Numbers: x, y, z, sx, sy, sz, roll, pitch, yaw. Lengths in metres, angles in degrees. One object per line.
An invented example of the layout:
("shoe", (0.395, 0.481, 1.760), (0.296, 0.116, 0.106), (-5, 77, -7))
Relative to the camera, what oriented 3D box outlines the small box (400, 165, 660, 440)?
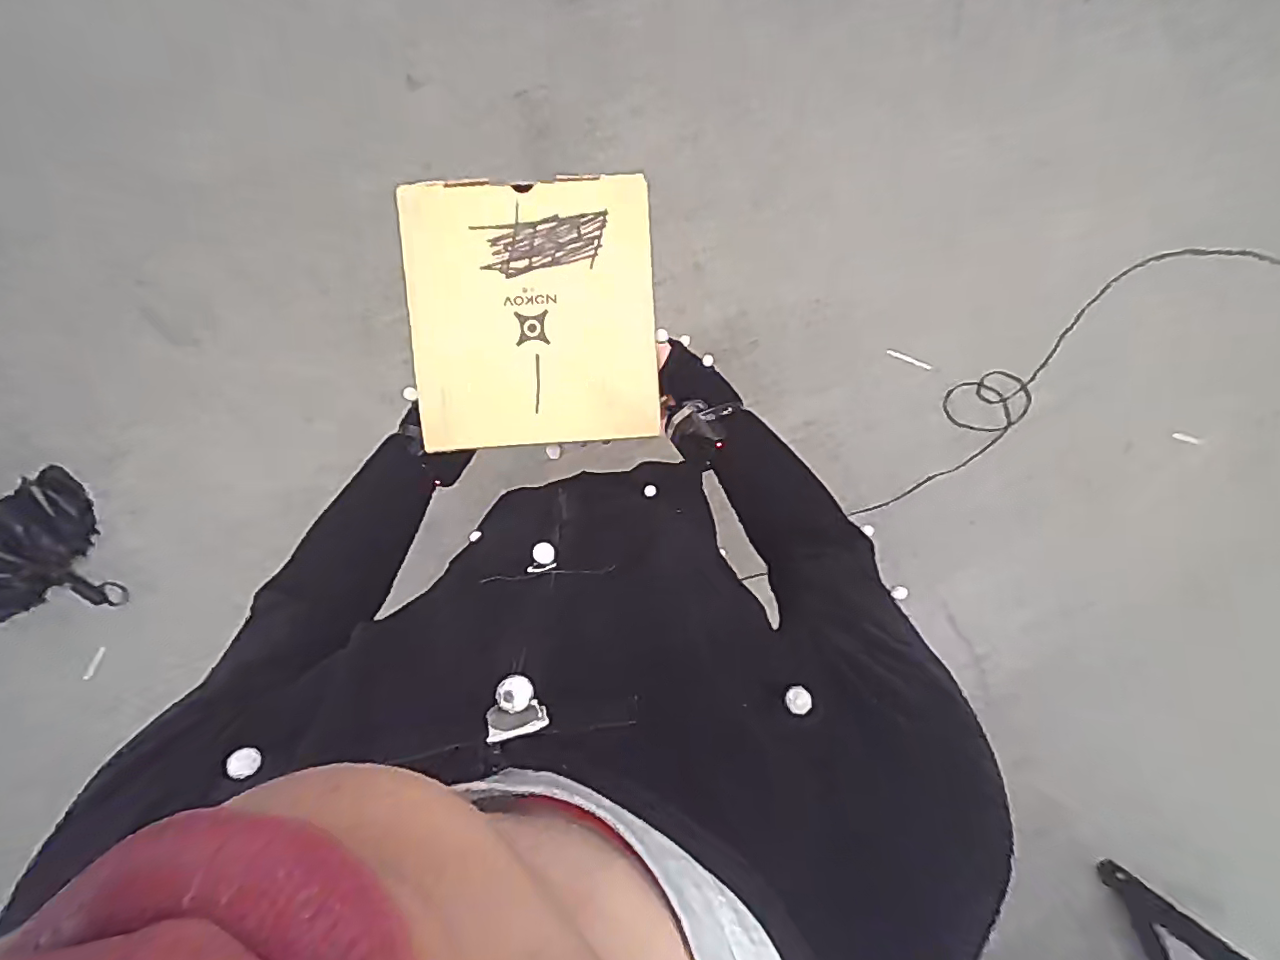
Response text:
("small box", (-0.073, -0.126, 0.440), (0.168, 0.176, 0.179), (-3, 98, -1))
